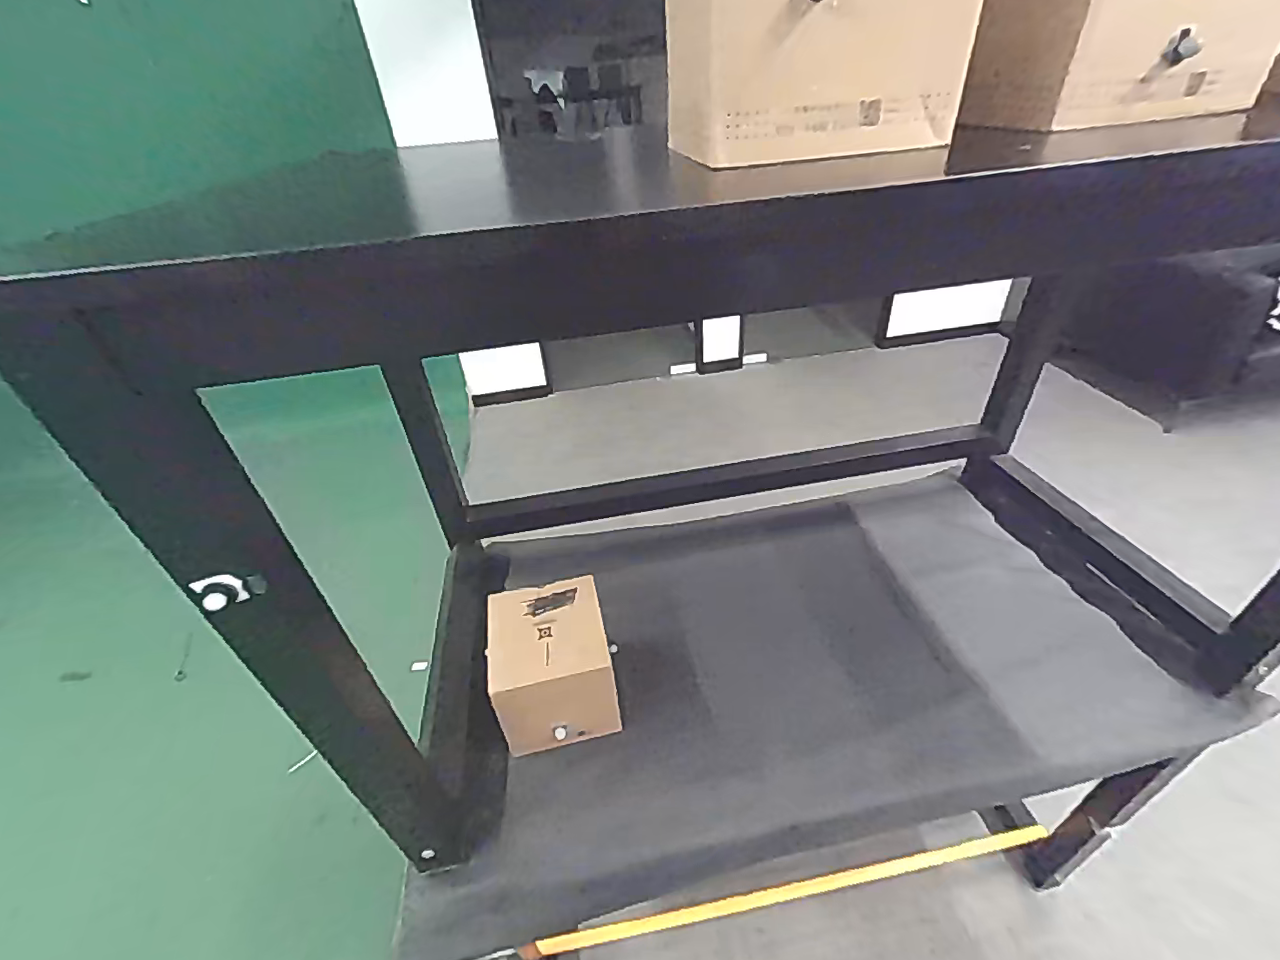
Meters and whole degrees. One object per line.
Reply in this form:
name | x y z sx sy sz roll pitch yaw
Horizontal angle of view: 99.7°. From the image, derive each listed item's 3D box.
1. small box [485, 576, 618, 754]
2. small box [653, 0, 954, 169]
small box | -0.133 0.278 0.823 0.168 0.176 0.179 -11 37 -7
small box | 0.103 -0.326 0.381 0.168 0.176 0.179 -8 36 -3
